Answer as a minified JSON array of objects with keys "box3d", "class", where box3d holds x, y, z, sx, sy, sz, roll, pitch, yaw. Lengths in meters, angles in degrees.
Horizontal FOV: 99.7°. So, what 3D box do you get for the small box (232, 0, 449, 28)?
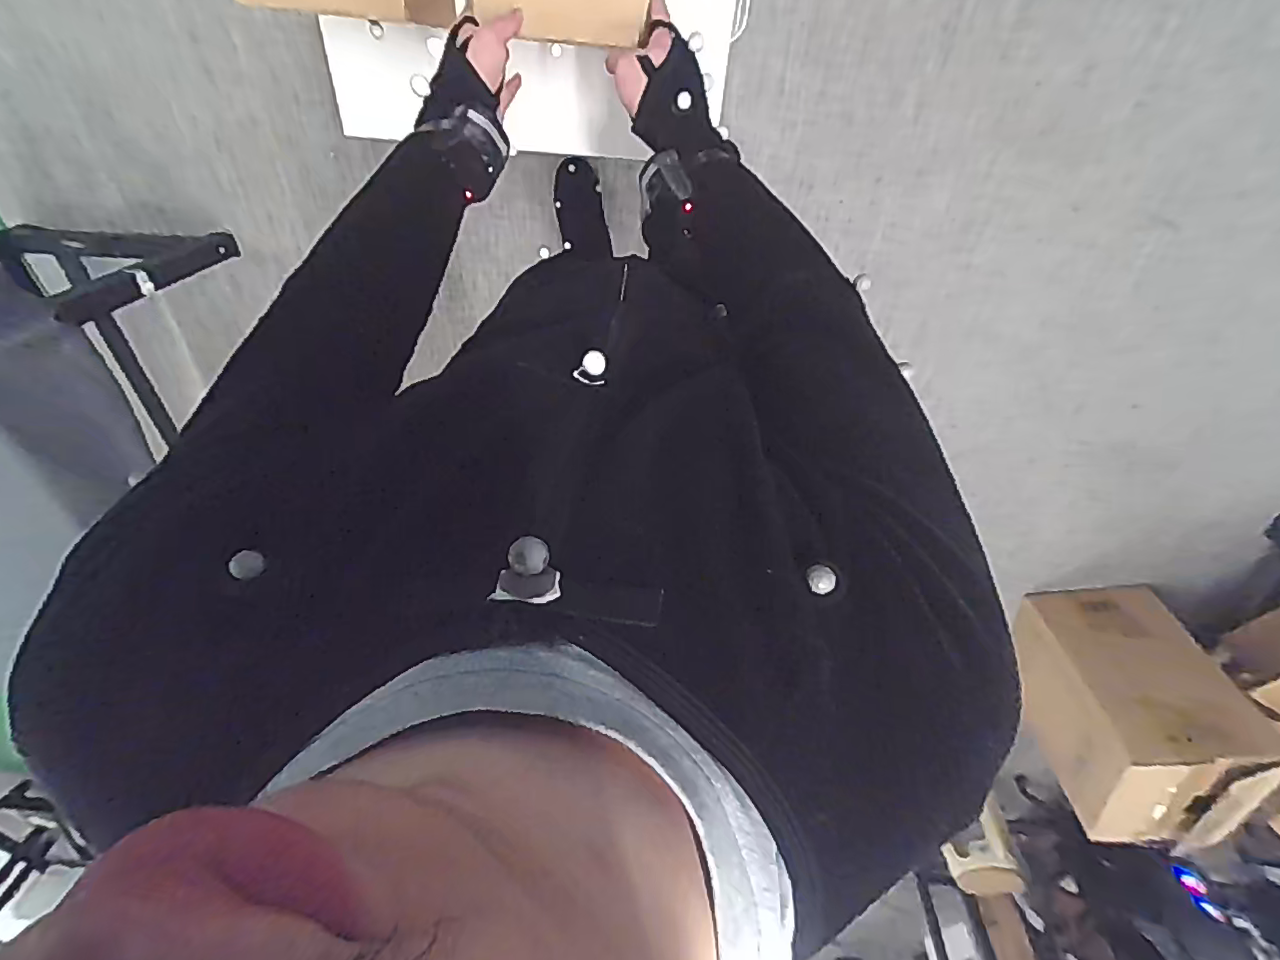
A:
[{"box3d":[-0.304,-0.571,0.544,0.179,0.176,0.168,5,128,-2],"class":"small box"}]
